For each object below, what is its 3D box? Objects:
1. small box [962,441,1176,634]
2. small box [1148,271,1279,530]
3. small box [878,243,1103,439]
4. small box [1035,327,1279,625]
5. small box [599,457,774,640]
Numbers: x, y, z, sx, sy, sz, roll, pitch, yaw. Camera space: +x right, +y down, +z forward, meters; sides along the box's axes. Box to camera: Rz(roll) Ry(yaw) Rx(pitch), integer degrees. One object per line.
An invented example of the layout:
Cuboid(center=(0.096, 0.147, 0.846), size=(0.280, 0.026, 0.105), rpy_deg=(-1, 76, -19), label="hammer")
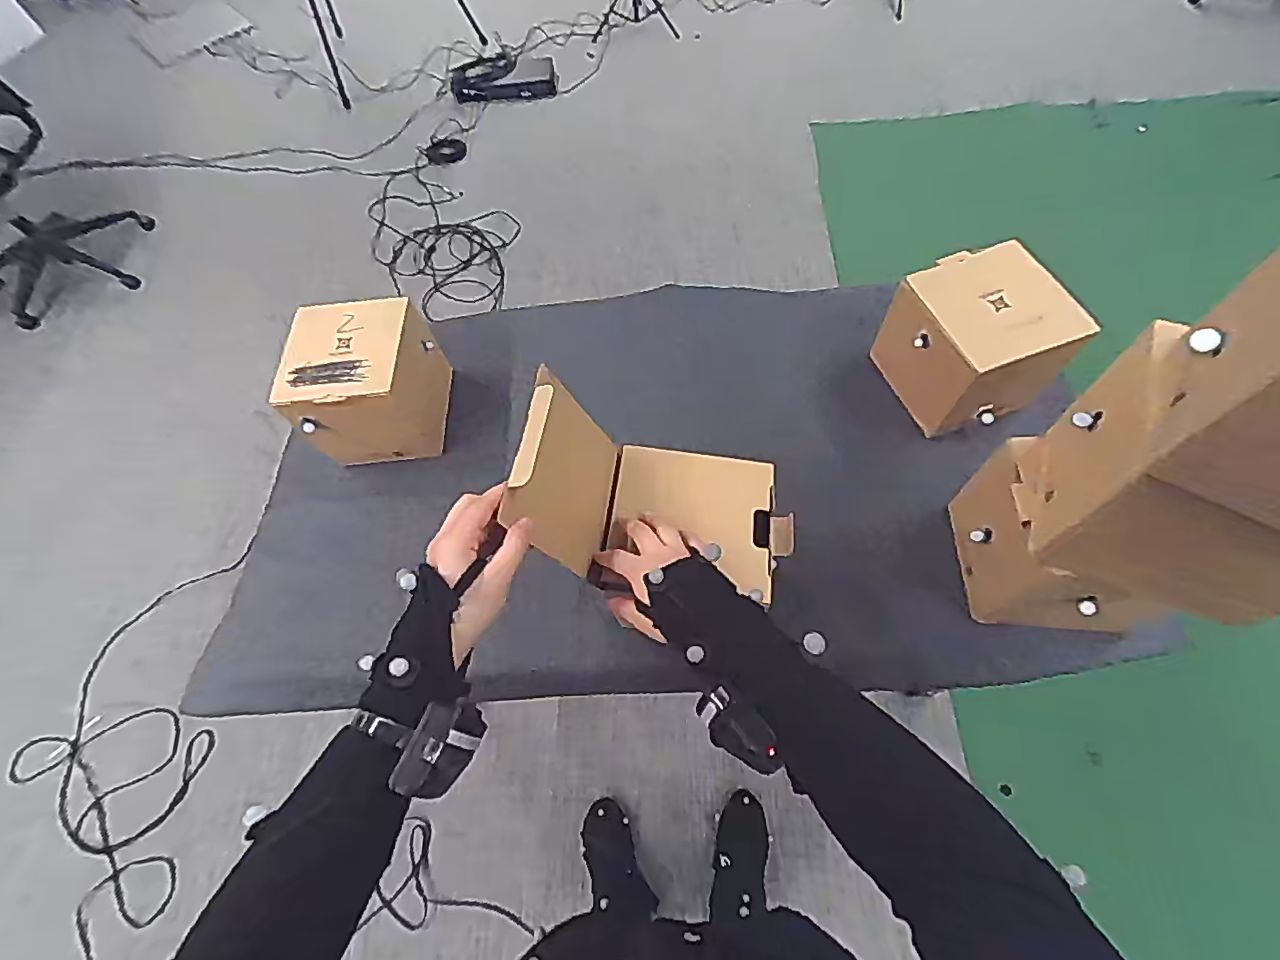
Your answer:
Cuboid(center=(0.494, 0.071, 0.616), size=(0.179, 0.176, 0.168), rpy_deg=(2, 60, 7), label="small box")
Cuboid(center=(0.468, -0.058, 0.313), size=(0.179, 0.176, 0.168), rpy_deg=(31, 67, 21), label="small box")
Cuboid(center=(0.464, -0.186, 0.755), size=(0.168, 0.176, 0.179), rpy_deg=(-19, 64, -2), label="small box")
Cuboid(center=(0.484, 0.004, 0.467), size=(0.179, 0.176, 0.168), rpy_deg=(22, 64, 16), label="small box")
Cuboid(center=(0.063, 0.087, 0.649), size=(0.179, 0.176, 0.168), rpy_deg=(4, 64, 10), label="small box")
